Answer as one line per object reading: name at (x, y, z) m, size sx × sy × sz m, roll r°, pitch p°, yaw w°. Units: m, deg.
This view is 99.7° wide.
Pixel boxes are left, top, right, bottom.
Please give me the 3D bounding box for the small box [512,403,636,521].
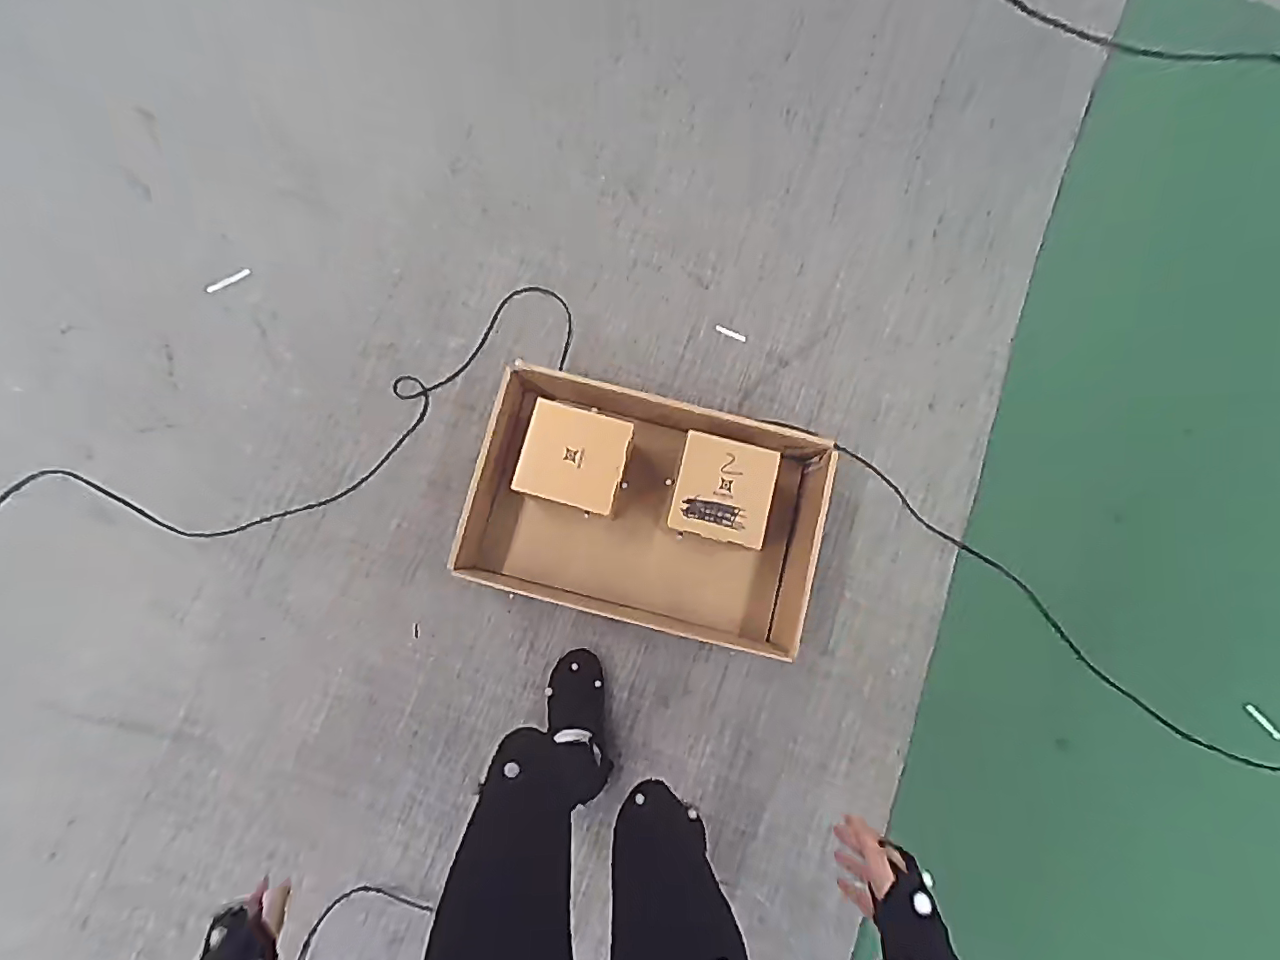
small box at (-0.116, -0.023, 1.002) m, size 0.179 × 0.176 × 0.168 m, roll 16°, pitch 82°, yaw -1°
